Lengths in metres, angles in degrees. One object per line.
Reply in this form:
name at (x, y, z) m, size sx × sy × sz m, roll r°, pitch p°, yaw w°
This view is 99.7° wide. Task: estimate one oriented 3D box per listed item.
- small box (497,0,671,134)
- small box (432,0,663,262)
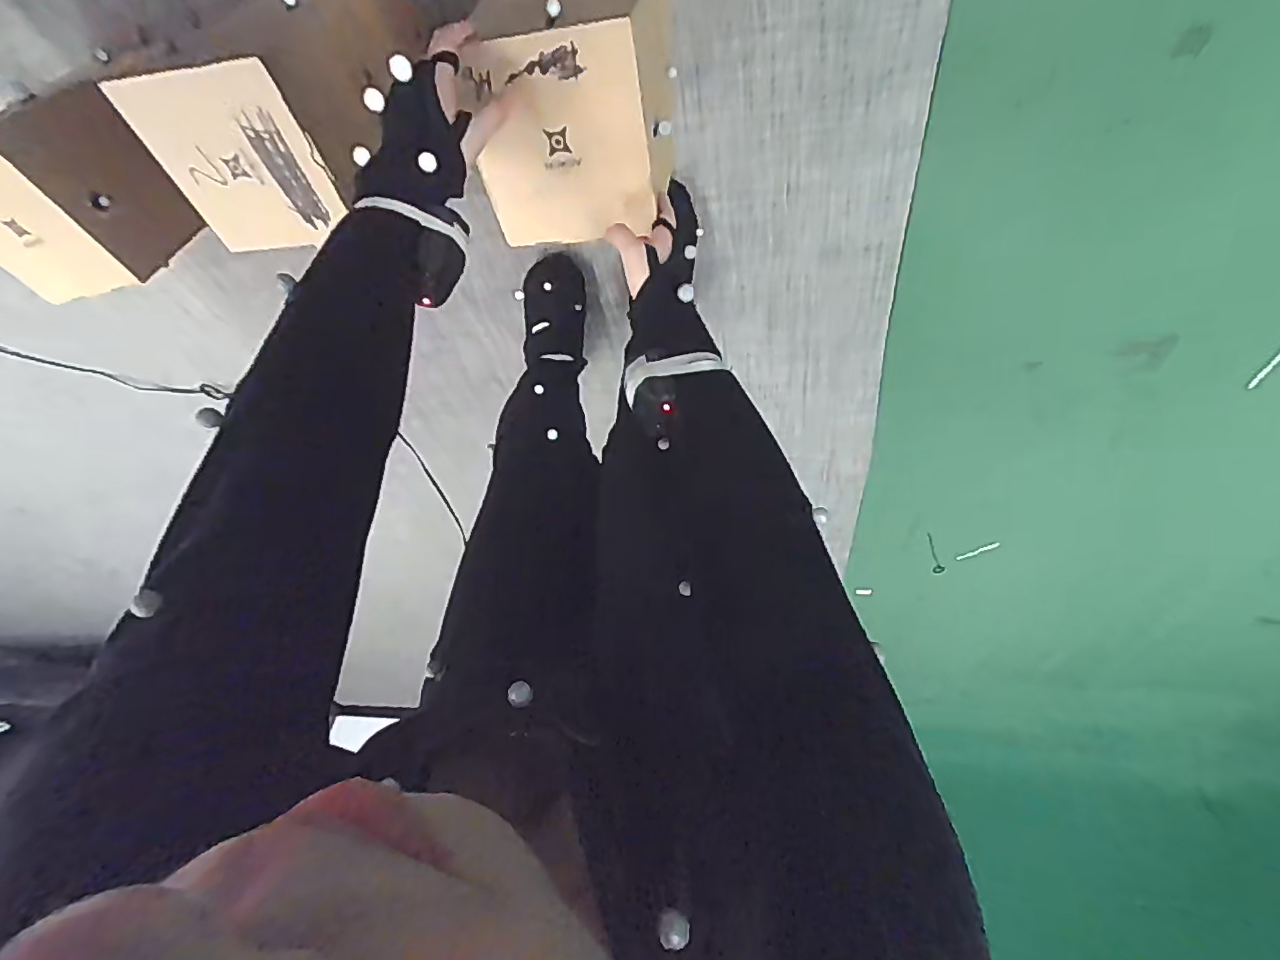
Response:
small box at (-0.052, -0.502, 0.637) m, size 0.168 × 0.176 × 0.179 m, roll 3°, pitch 142°, yaw 6°
small box at (-0.072, -0.358, 0.545) m, size 0.168 × 0.176 × 0.179 m, roll -6°, pitch 145°, yaw 13°
